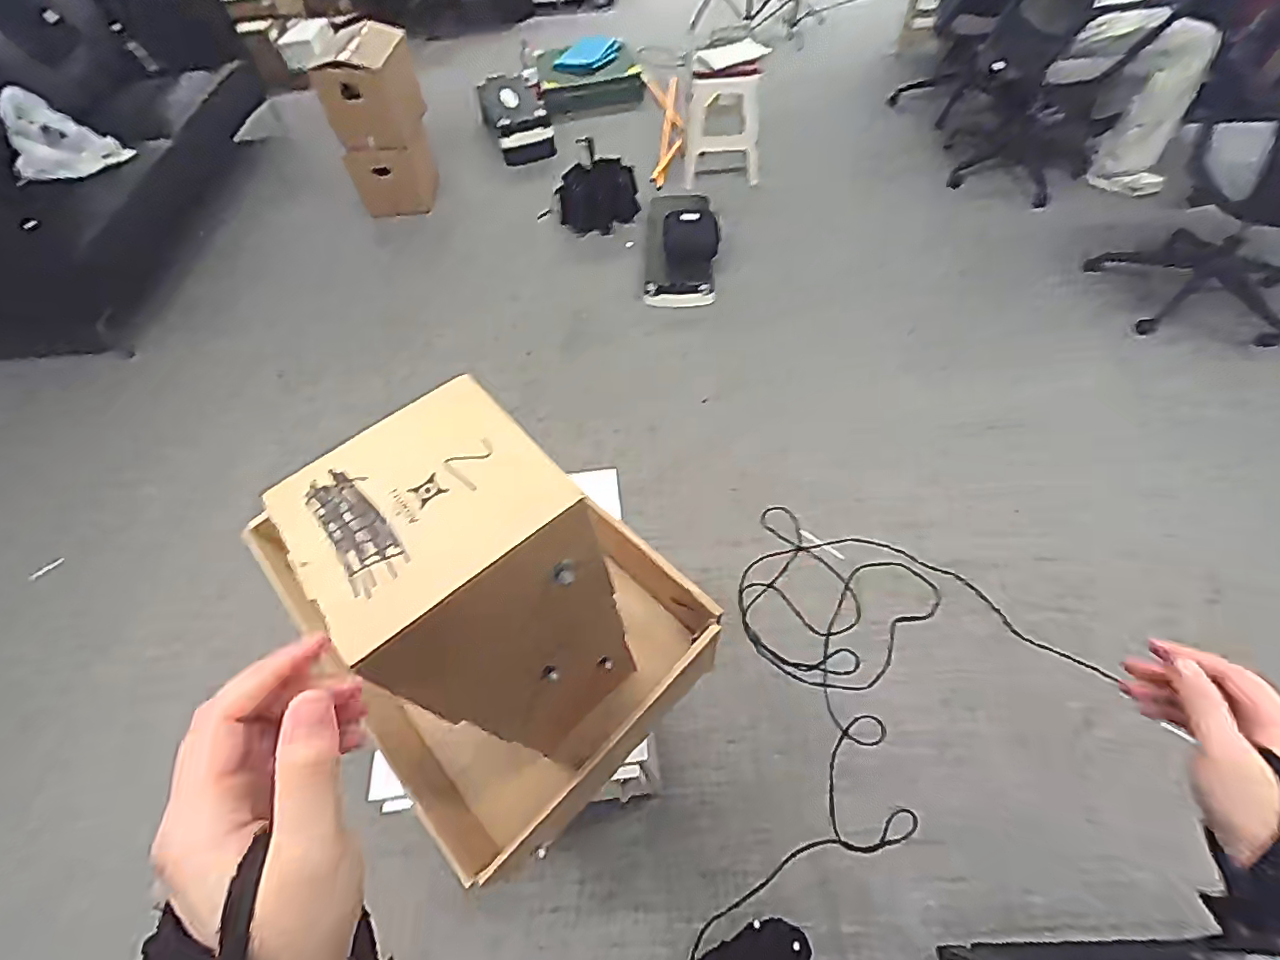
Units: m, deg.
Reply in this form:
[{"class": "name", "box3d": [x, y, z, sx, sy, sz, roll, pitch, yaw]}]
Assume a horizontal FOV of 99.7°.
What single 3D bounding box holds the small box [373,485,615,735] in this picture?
[{"class": "small box", "box3d": [-0.142, 0.145, 0.593, 0.179, 0.176, 0.168, -40, 60, -18]}]
